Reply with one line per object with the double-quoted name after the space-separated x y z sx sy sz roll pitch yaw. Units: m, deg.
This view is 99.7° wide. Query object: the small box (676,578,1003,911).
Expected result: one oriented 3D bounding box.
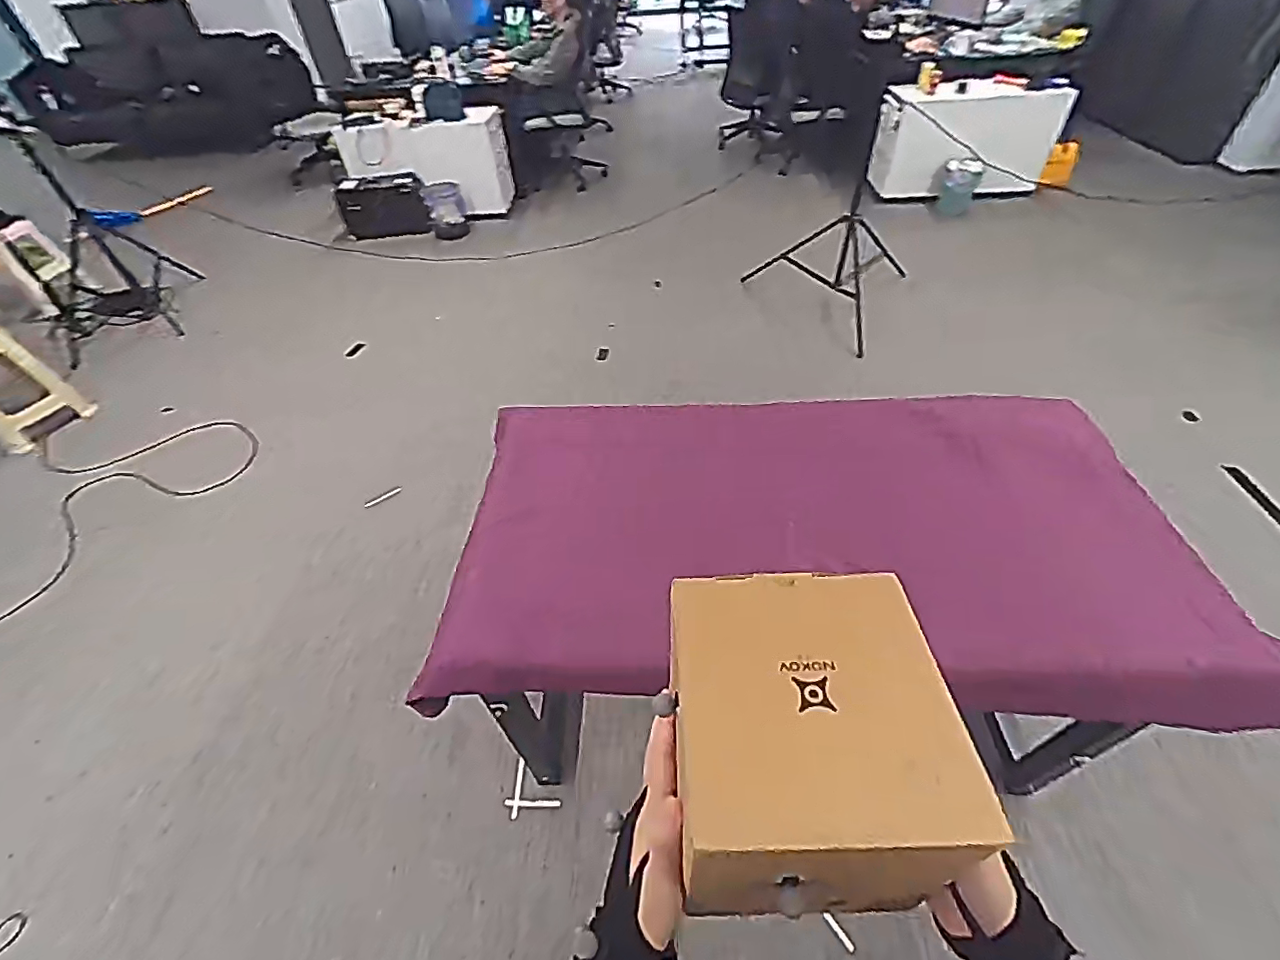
0.112 0.193 0.396 0.168 0.176 0.179 -1 41 1 "small box"
